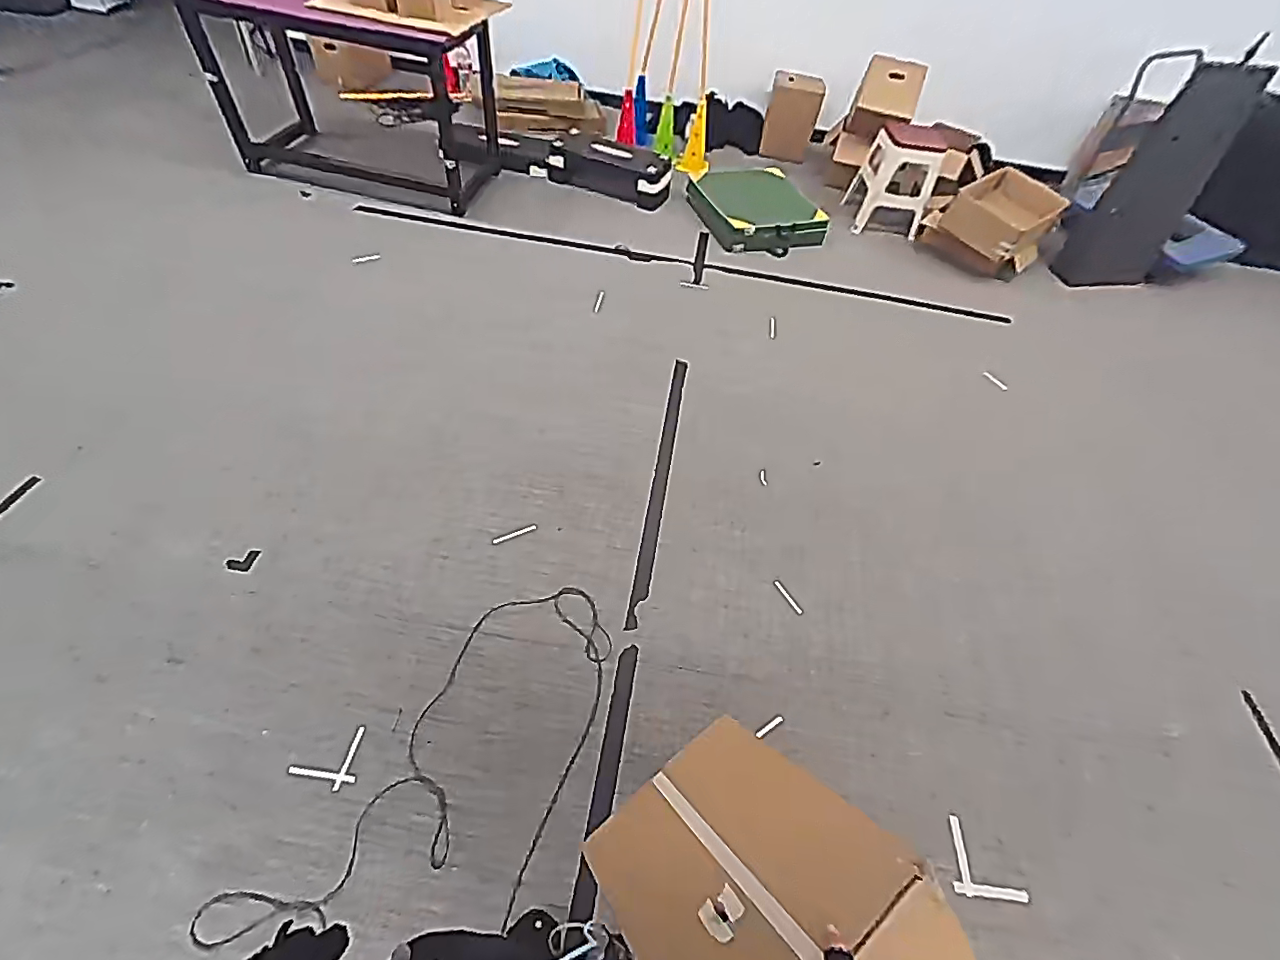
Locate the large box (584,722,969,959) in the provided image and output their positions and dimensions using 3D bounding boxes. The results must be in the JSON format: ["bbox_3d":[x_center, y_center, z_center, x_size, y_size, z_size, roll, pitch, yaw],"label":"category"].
[{"bbox_3d":[0.180,0.627,0.746,0.320,0.408,0.320,-34,104,-20],"label":"large box"}]
